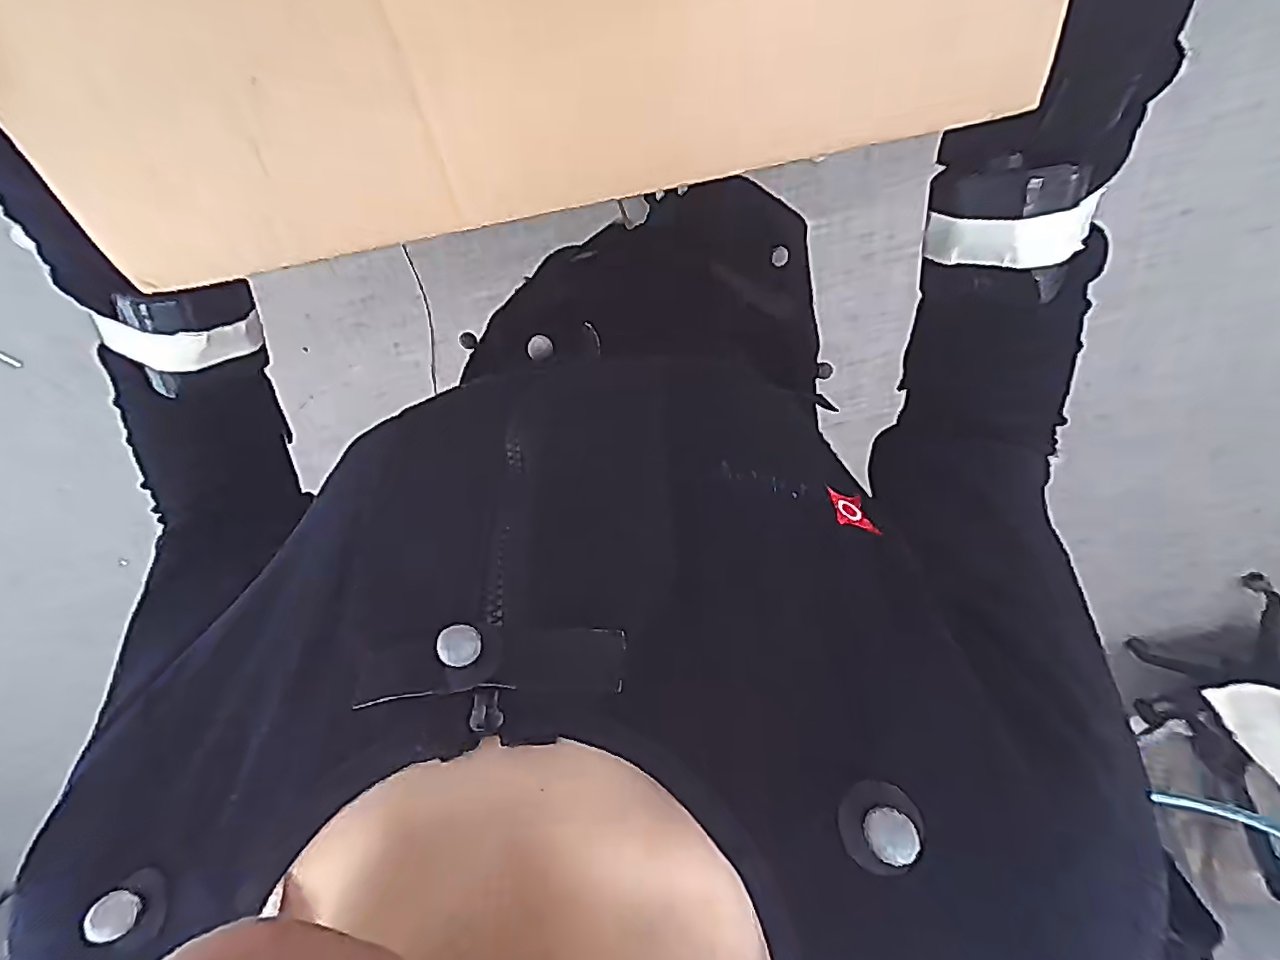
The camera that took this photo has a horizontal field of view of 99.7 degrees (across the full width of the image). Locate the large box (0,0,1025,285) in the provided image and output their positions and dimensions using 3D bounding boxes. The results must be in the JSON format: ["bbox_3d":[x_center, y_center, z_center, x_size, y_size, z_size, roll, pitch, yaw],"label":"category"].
[{"bbox_3d":[-0.073,-0.339,0.254,0.408,0.320,0.320,-9,132,7],"label":"large box"}]
